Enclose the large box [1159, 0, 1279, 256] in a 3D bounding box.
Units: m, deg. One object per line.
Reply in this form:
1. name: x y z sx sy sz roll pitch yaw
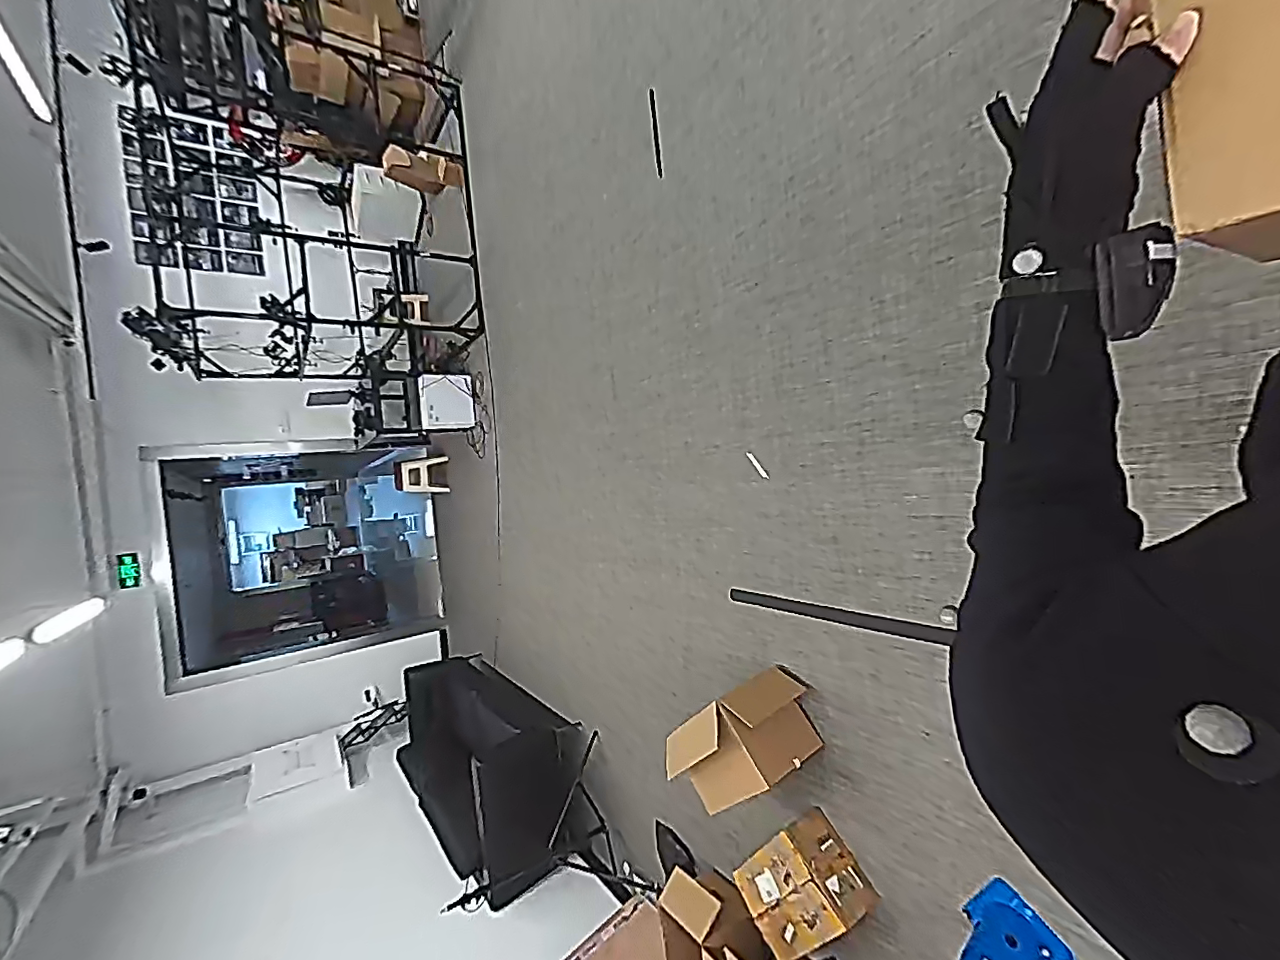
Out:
1. large box: 0.524 -0.333 0.234 0.408 0.320 0.320 -5 97 55
